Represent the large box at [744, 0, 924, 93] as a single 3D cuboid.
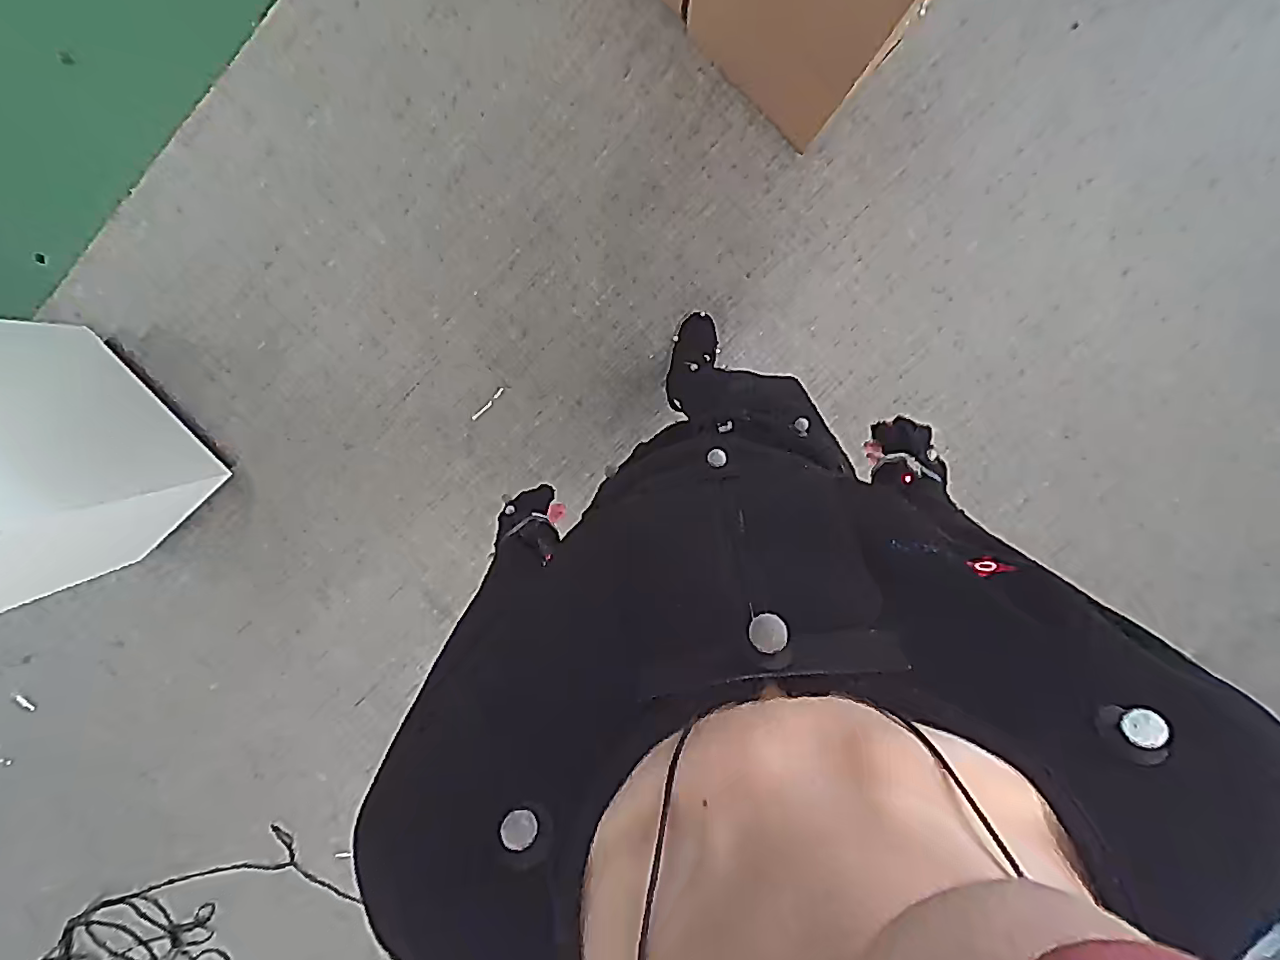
[{"bbox_3d":[0.328,-0.935,0.840,0.408,0.320,0.320,40,101,-6],"label":"large box"}]
